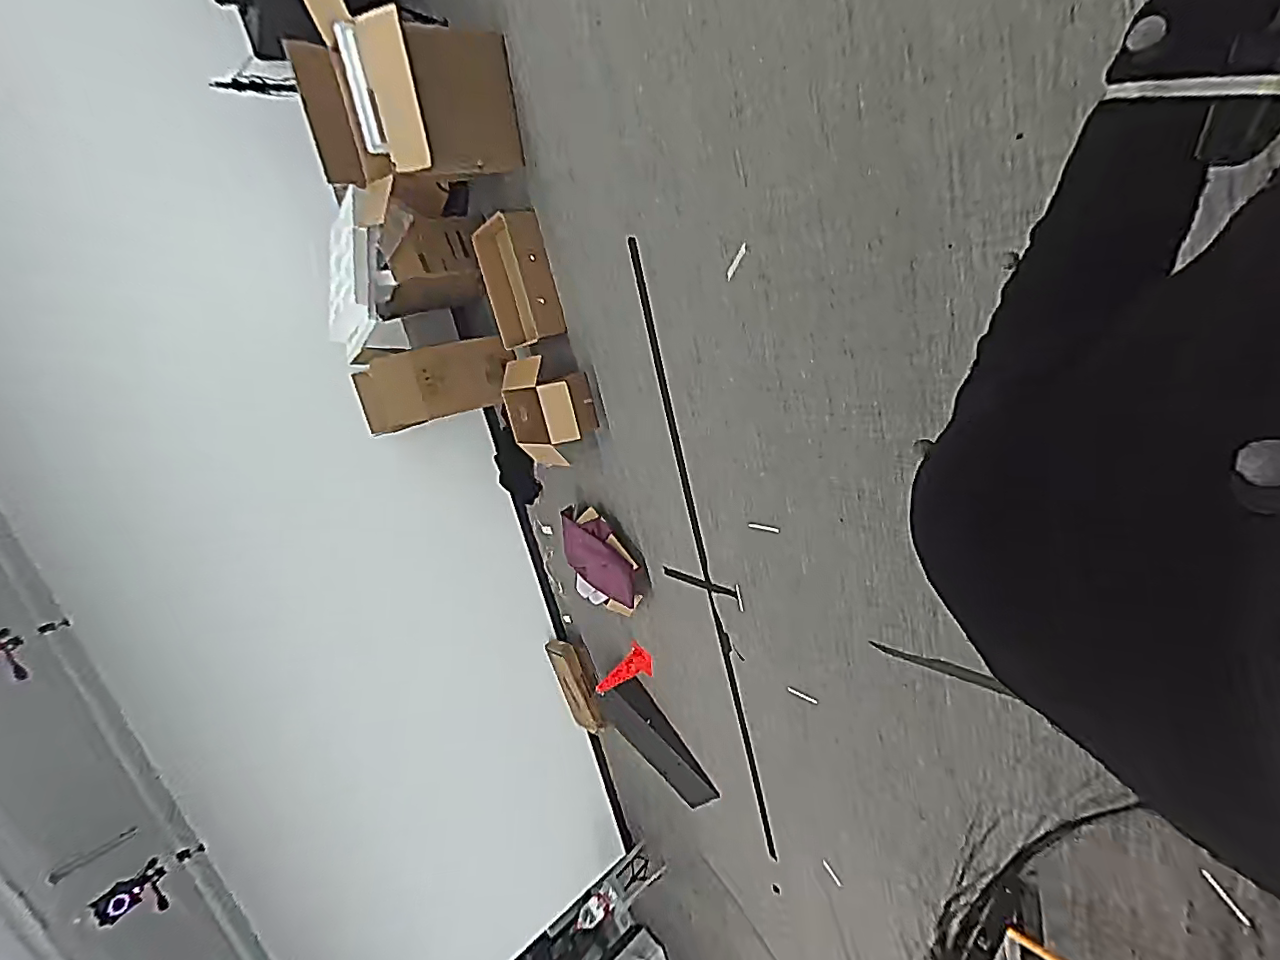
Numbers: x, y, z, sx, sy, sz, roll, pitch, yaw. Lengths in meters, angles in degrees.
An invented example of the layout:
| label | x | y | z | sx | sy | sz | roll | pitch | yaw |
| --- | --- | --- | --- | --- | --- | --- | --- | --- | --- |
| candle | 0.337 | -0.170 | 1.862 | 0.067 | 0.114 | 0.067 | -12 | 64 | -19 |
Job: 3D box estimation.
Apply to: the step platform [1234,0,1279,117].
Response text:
| label | x | y | z | sx | sy | sz | roll | pitch | yaw |
| --- | --- | --- | --- | --- | --- | --- | --- | --- | --- |
| step platform | 1.002 | -0.600 | 0.440 | 0.684 | 0.204 | 0.286 | 5 | 114 | 53 |
